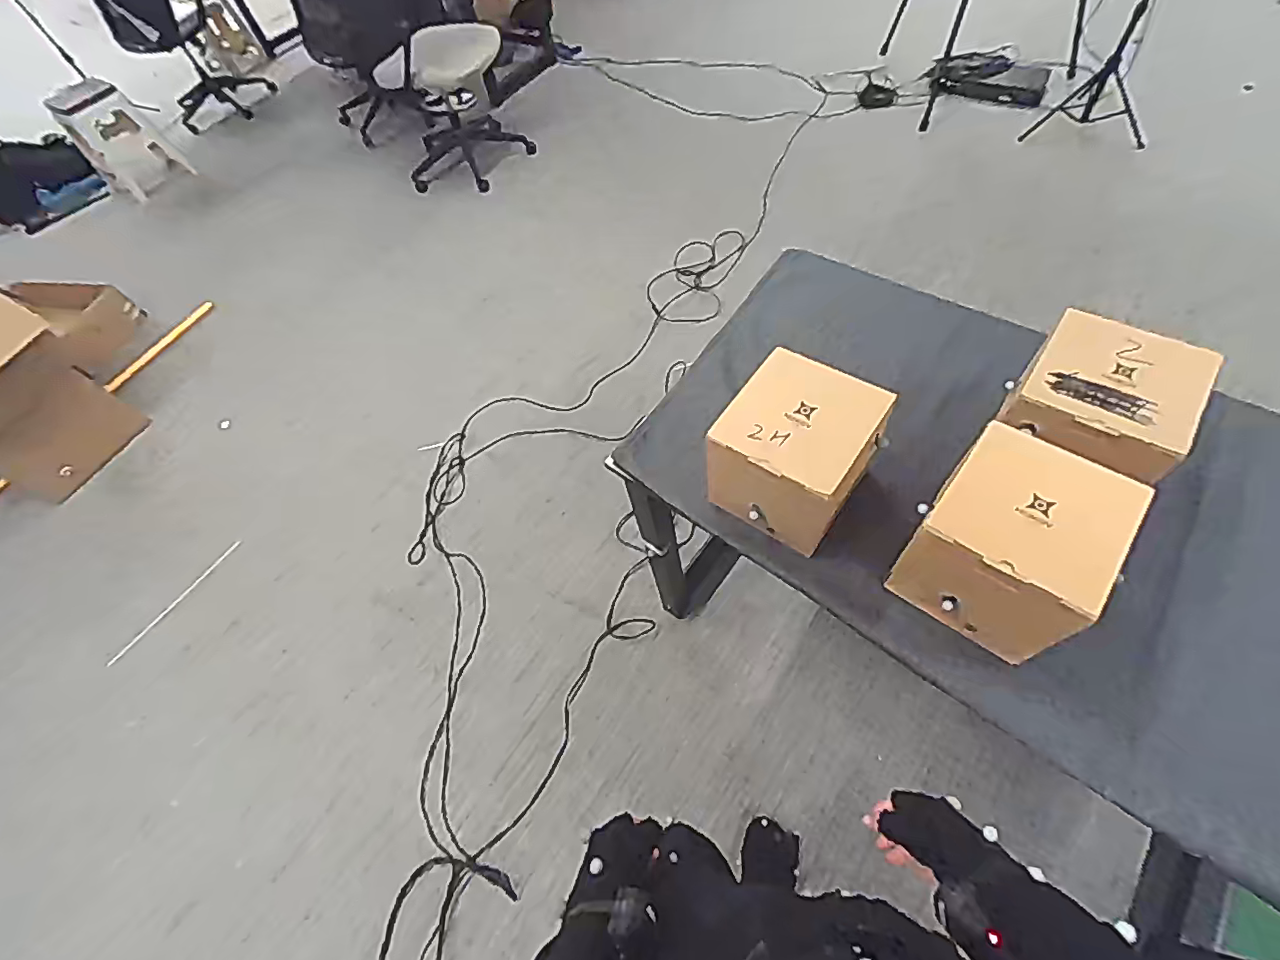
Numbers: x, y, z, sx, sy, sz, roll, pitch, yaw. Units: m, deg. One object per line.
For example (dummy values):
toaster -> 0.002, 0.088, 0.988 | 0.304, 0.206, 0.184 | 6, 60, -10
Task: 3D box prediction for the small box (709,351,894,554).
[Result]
small box -> 0.207, -0.033, 0.731 | 0.168, 0.176, 0.179 | 30, 68, 24
